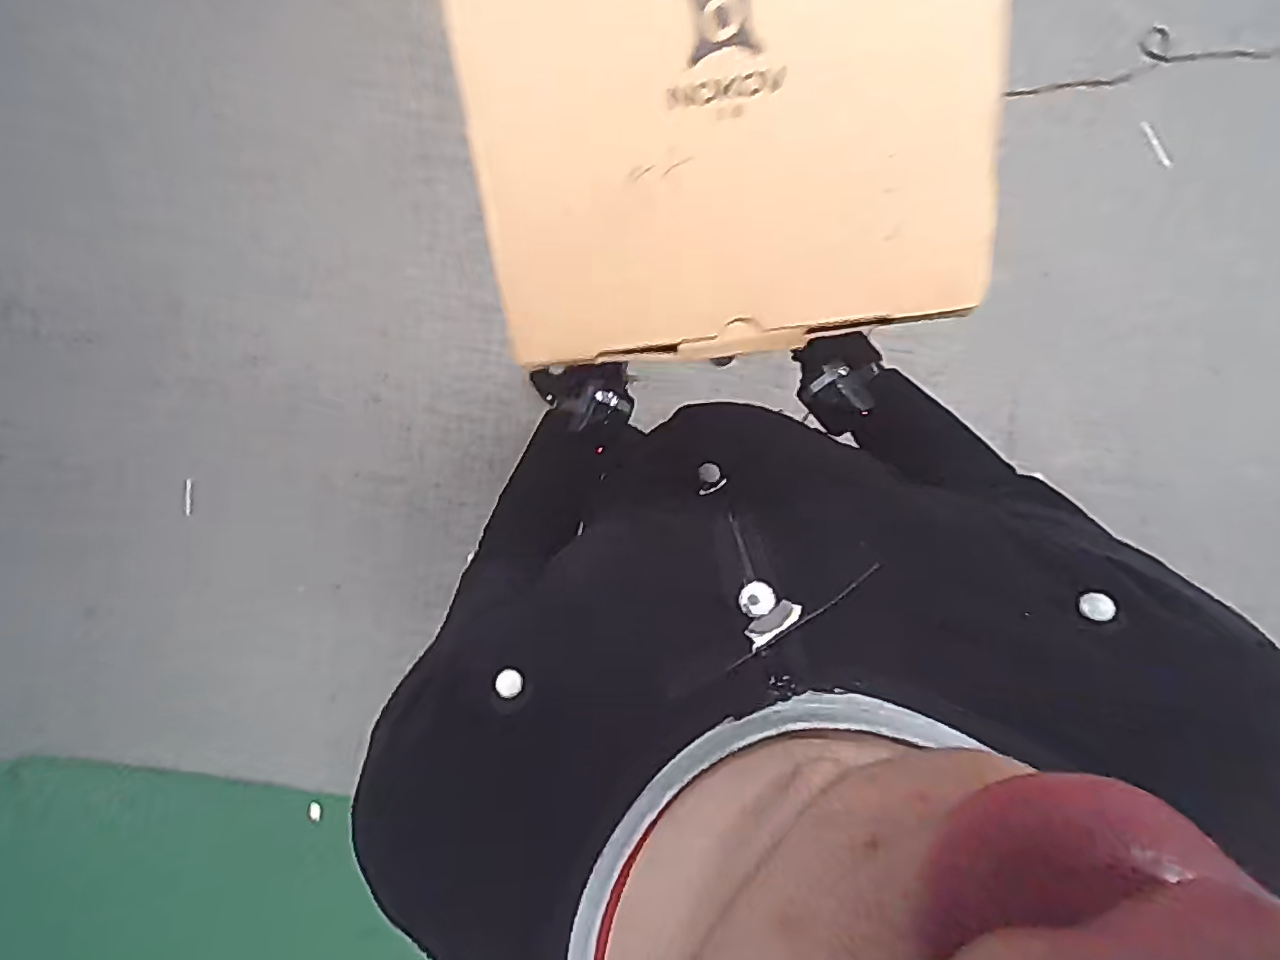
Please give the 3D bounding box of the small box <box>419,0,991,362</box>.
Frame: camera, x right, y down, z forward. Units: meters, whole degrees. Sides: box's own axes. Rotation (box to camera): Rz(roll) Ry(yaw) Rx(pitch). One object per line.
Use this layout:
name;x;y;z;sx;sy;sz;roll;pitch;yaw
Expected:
small box;0.022;-0.157;0.235;0.168;0.176;0.179;-6;109;4
